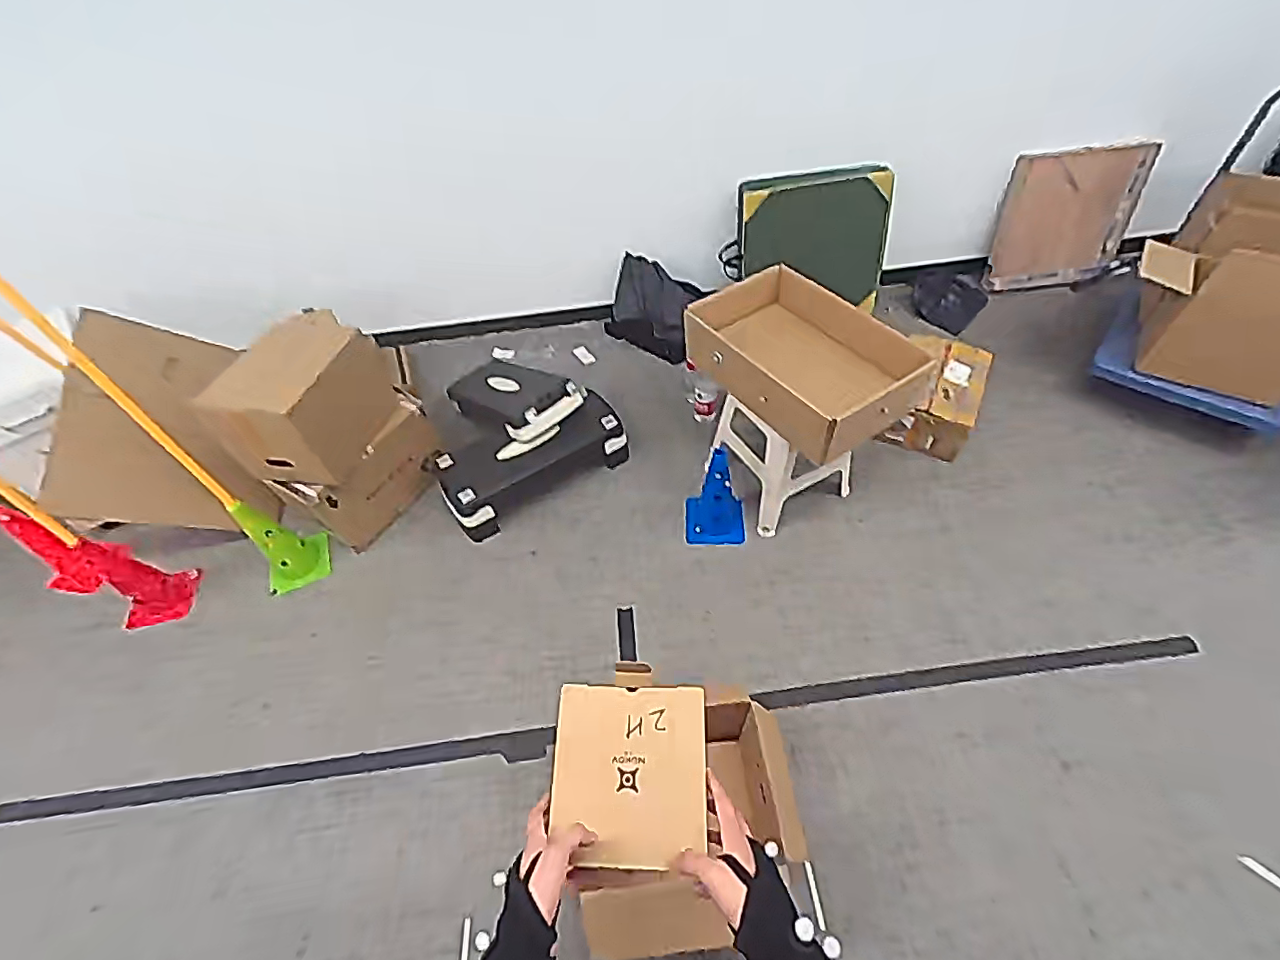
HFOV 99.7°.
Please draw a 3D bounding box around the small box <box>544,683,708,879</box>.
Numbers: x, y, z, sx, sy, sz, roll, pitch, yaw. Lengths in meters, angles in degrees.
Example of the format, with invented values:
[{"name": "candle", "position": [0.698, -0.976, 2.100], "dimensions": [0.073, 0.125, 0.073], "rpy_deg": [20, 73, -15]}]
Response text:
[{"name": "small box", "position": [-0.004, 0.348, 0.639], "dimensions": [0.168, 0.176, 0.179], "rpy_deg": [0, 59, 5]}]
